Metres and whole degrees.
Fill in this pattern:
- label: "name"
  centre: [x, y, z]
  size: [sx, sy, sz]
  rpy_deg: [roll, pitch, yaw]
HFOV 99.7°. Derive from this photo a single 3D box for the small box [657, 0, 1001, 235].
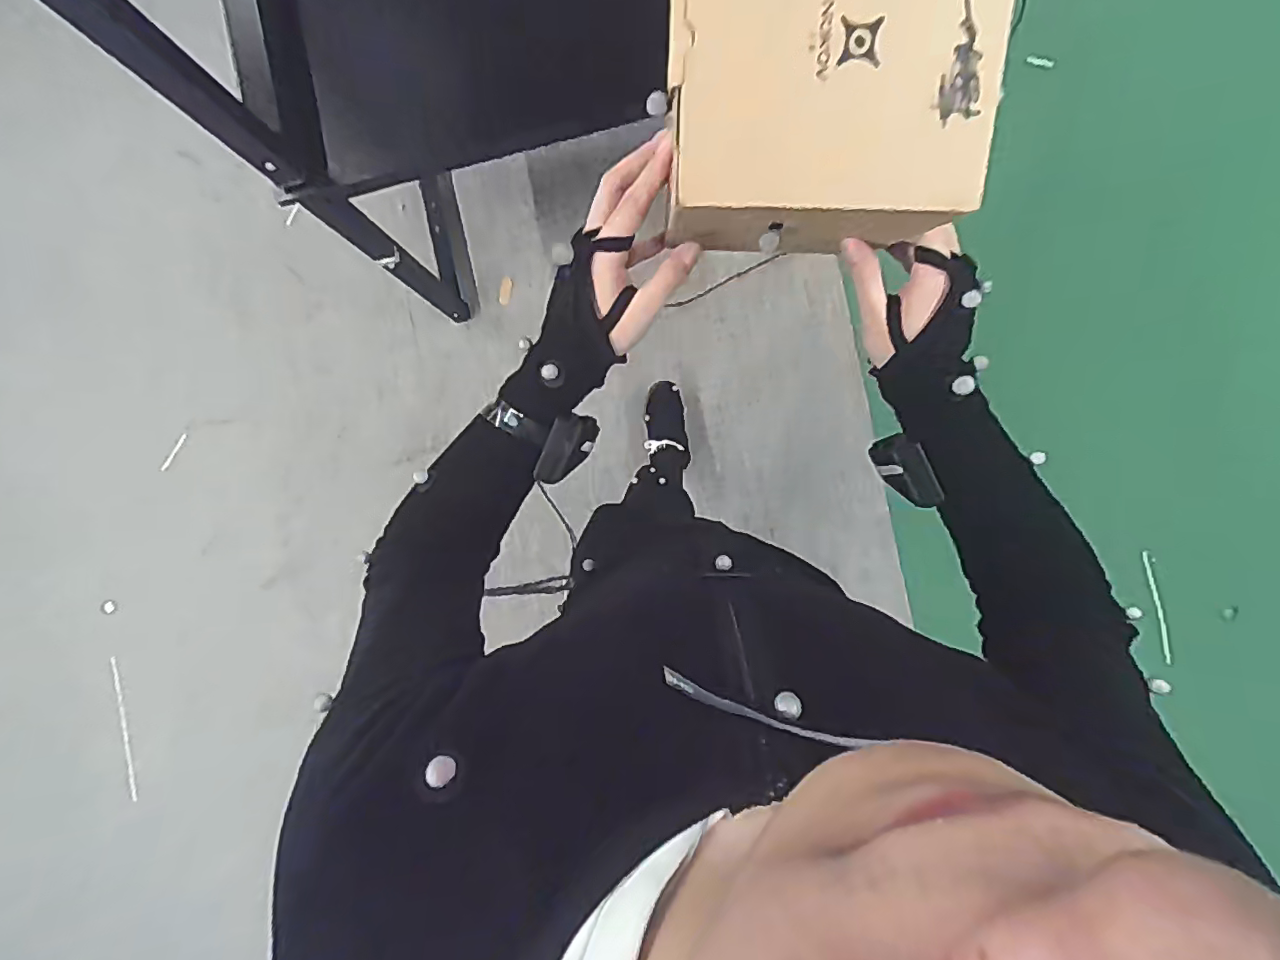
- label: "small box"
  centre: [0.104, -0.265, 0.361]
  size: [0.179, 0.176, 0.168]
  rpy_deg: [2, 107, 3]
